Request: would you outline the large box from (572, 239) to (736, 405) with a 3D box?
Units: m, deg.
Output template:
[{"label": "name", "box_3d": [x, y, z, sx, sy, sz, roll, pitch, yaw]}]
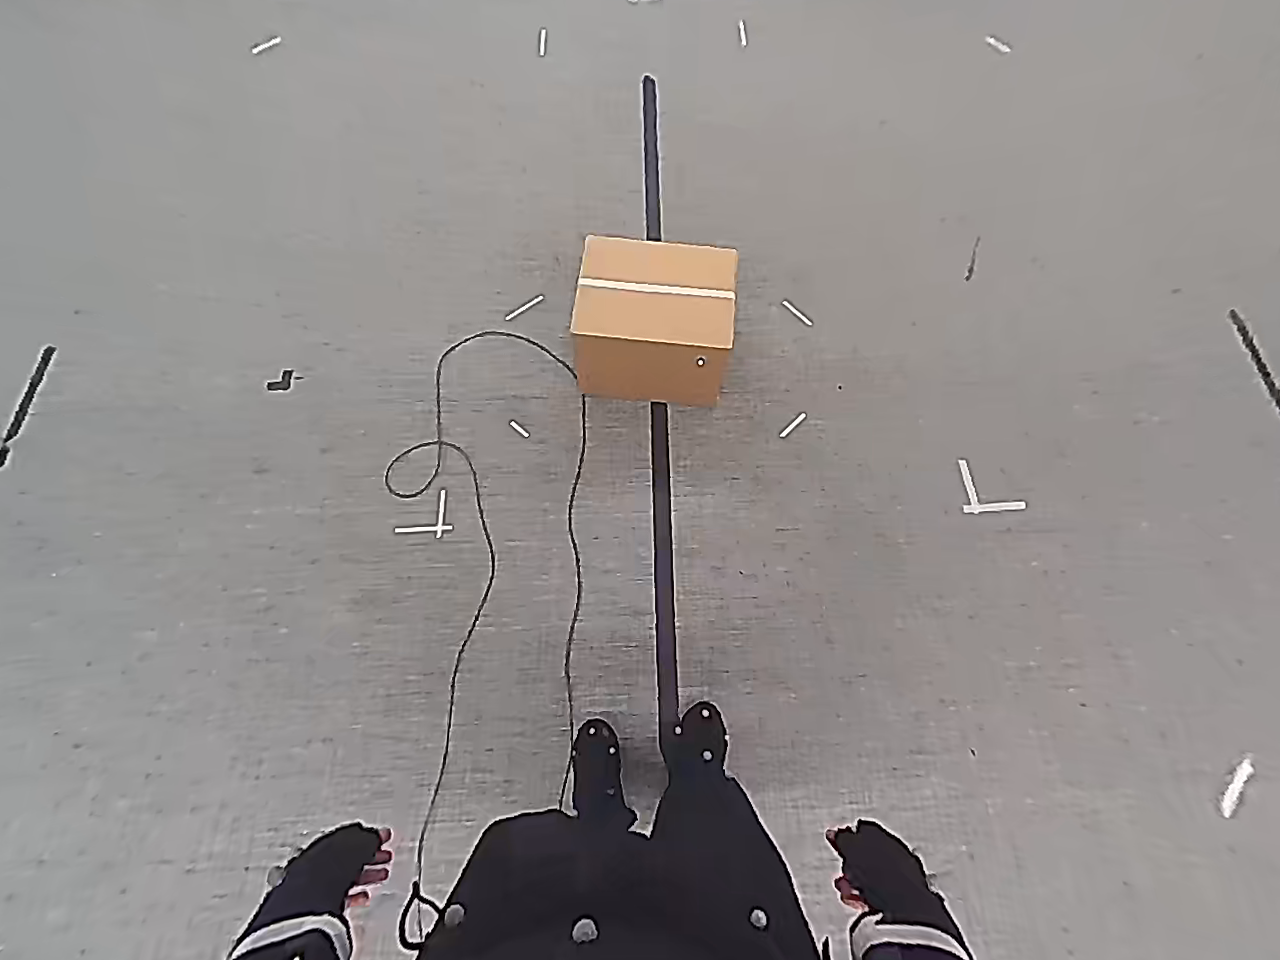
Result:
[{"label": "large box", "box_3d": [0.041, -0.427, 1.512, 0.408, 0.320, 0.320, 6, 70, 1]}]
